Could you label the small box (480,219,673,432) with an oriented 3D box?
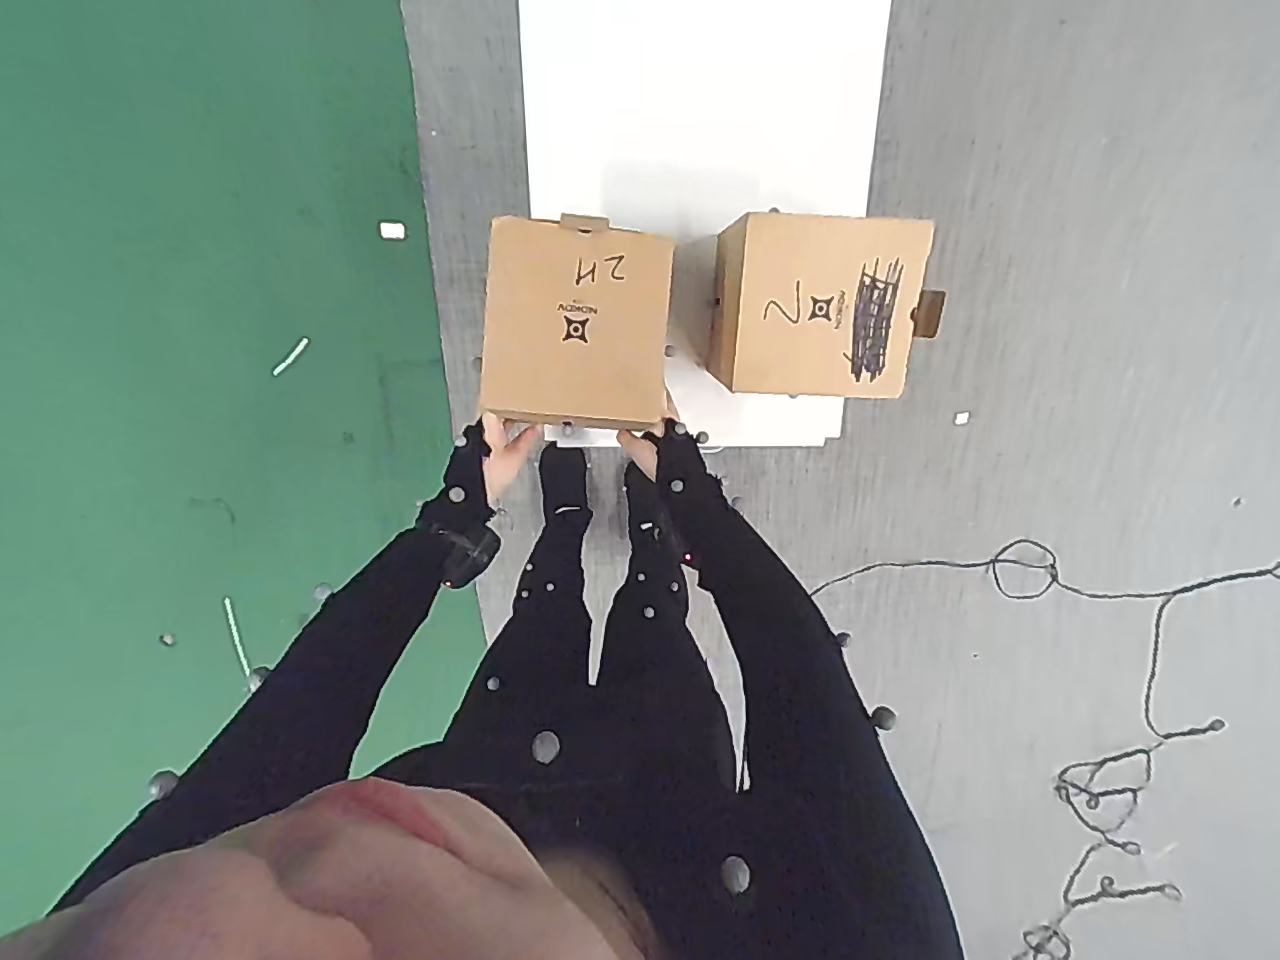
[{"bbox_3d":[-0.064,-0.145,0.571,0.168,0.176,0.179,4,92,-6],"label":"small box"}]
